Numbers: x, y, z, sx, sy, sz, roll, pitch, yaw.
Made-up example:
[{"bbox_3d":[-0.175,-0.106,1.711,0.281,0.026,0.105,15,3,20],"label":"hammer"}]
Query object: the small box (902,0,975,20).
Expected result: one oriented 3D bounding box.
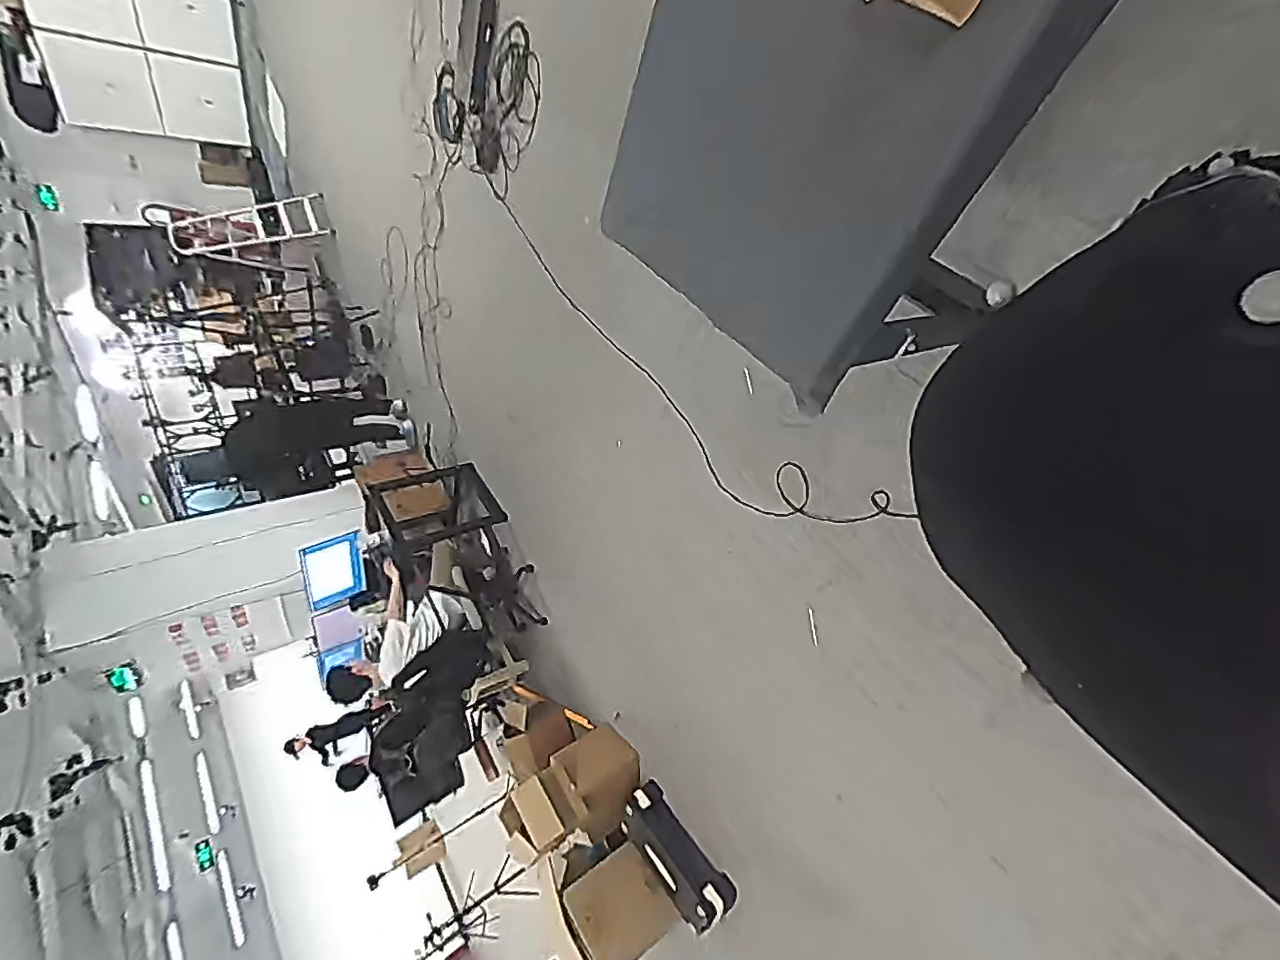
[{"bbox_3d":[0.276,-0.592,0.524,0.168,0.176,0.179,53,140,26],"label":"small box"}]
